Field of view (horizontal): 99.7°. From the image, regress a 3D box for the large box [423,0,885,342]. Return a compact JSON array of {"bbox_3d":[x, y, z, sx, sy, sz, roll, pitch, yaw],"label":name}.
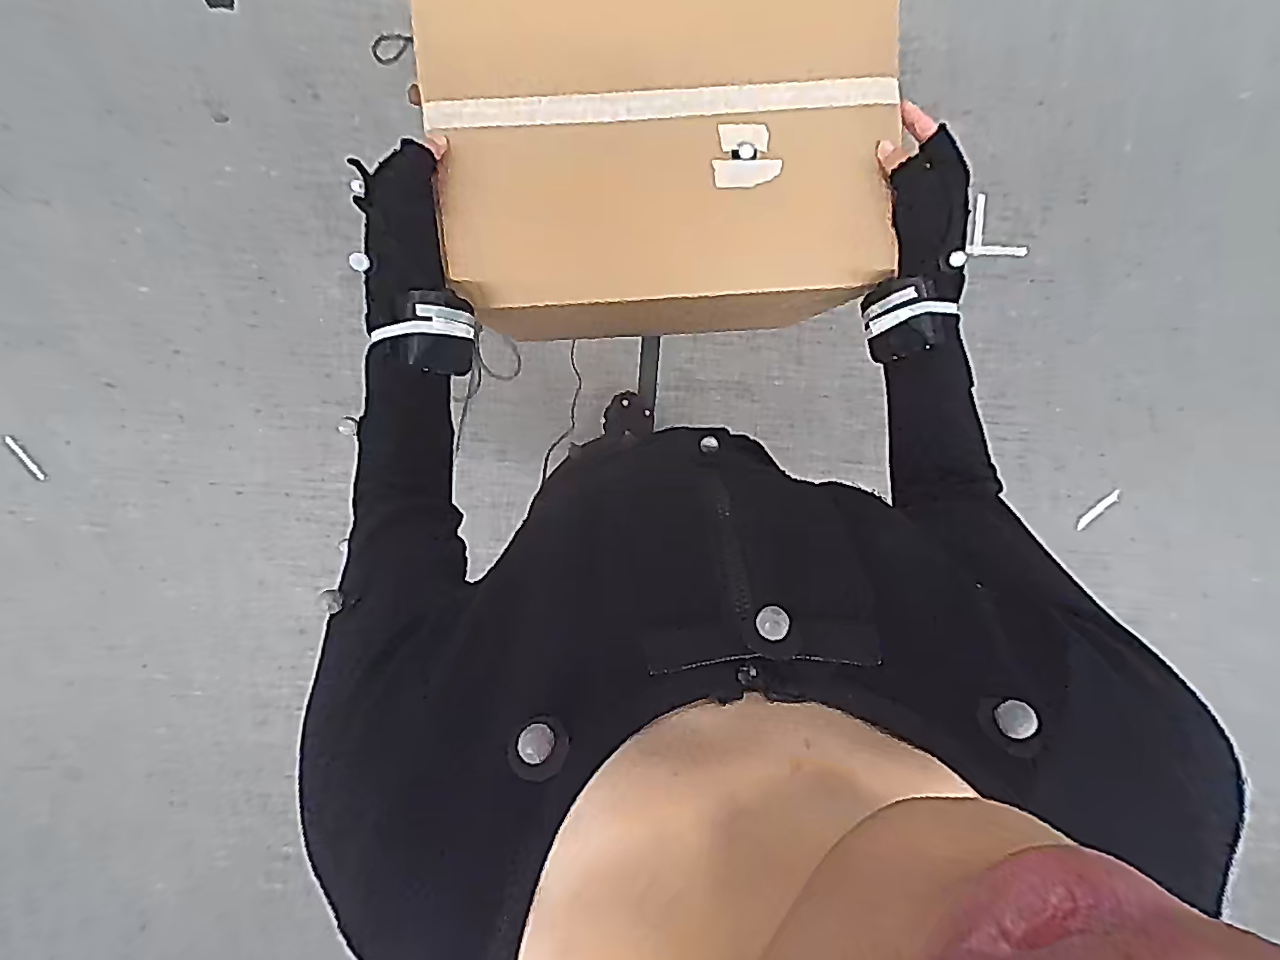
[{"bbox_3d":[0.013,-0.346,0.626,0.408,0.320,0.320,-4,100,-2],"label":"large box"}]
